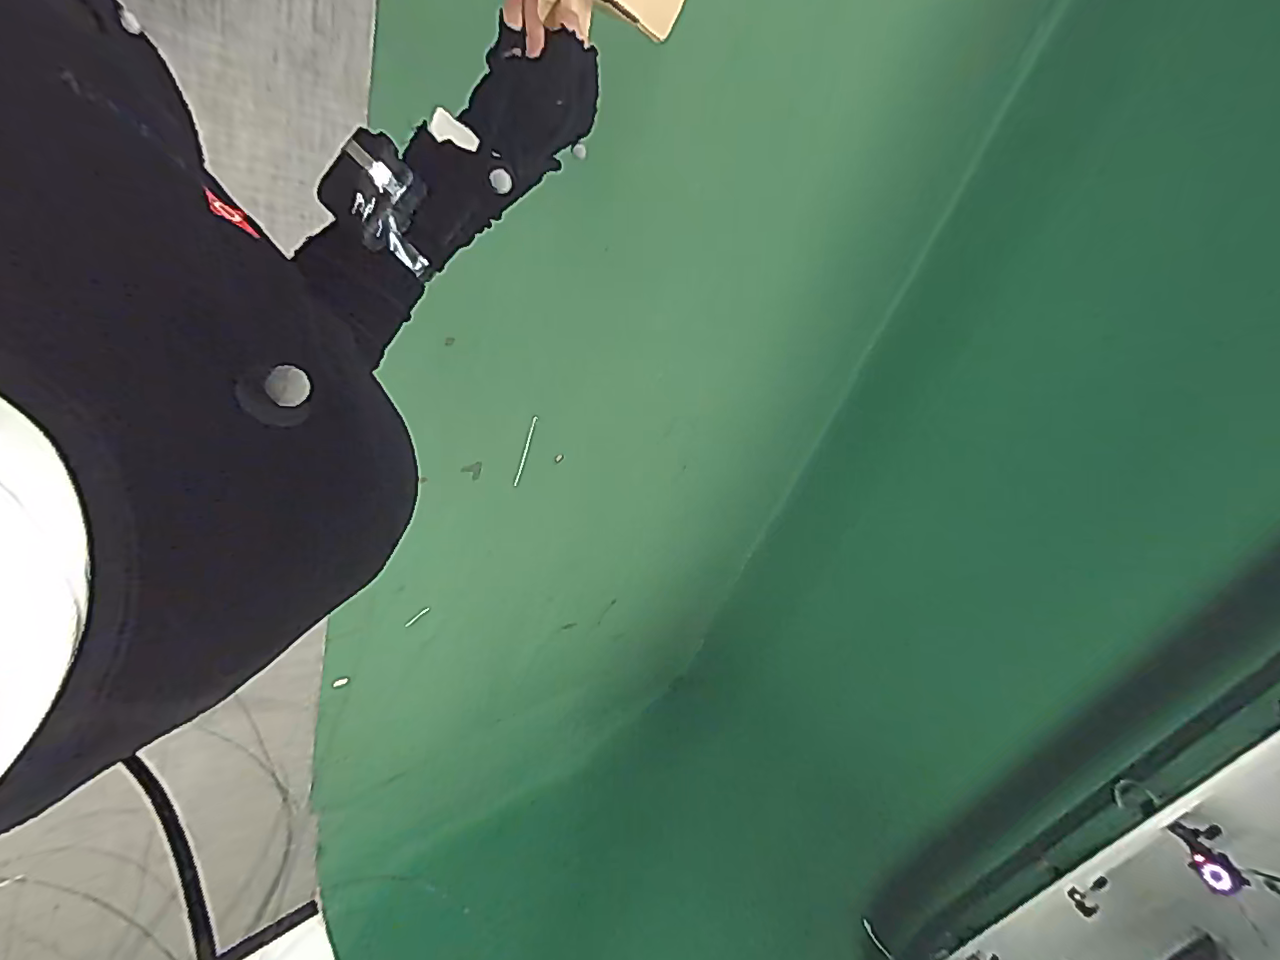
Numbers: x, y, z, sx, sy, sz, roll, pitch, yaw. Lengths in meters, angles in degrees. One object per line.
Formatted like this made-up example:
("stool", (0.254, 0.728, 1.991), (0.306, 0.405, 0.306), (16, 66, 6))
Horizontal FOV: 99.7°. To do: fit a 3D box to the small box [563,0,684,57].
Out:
("small box", (-0.045, -0.443, 0.356), (0.168, 0.176, 0.179), (-9, 141, -50))
